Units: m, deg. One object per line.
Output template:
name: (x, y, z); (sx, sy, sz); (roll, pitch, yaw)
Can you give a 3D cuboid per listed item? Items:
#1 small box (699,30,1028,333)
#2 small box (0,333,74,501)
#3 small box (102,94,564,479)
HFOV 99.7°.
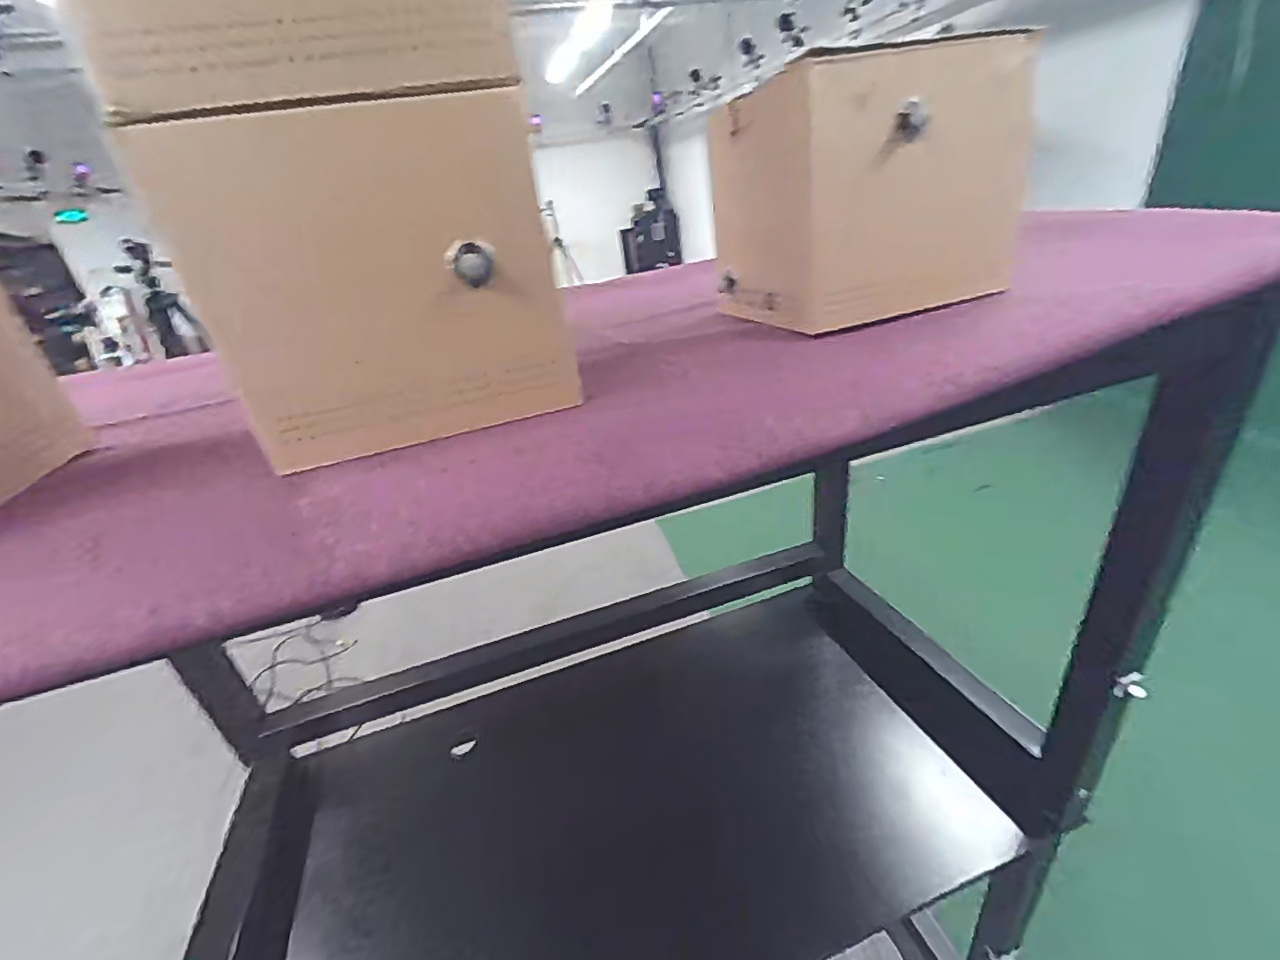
small box: (0.166, -0.225, 0.440); (0.179, 0.176, 0.168); (-15, 26, -12)
small box: (-0.454, -0.039, 0.264); (0.168, 0.176, 0.179); (-15, 29, -14)
small box: (-0.154, -0.122, 0.344); (0.179, 0.176, 0.168); (-17, 28, -13)
